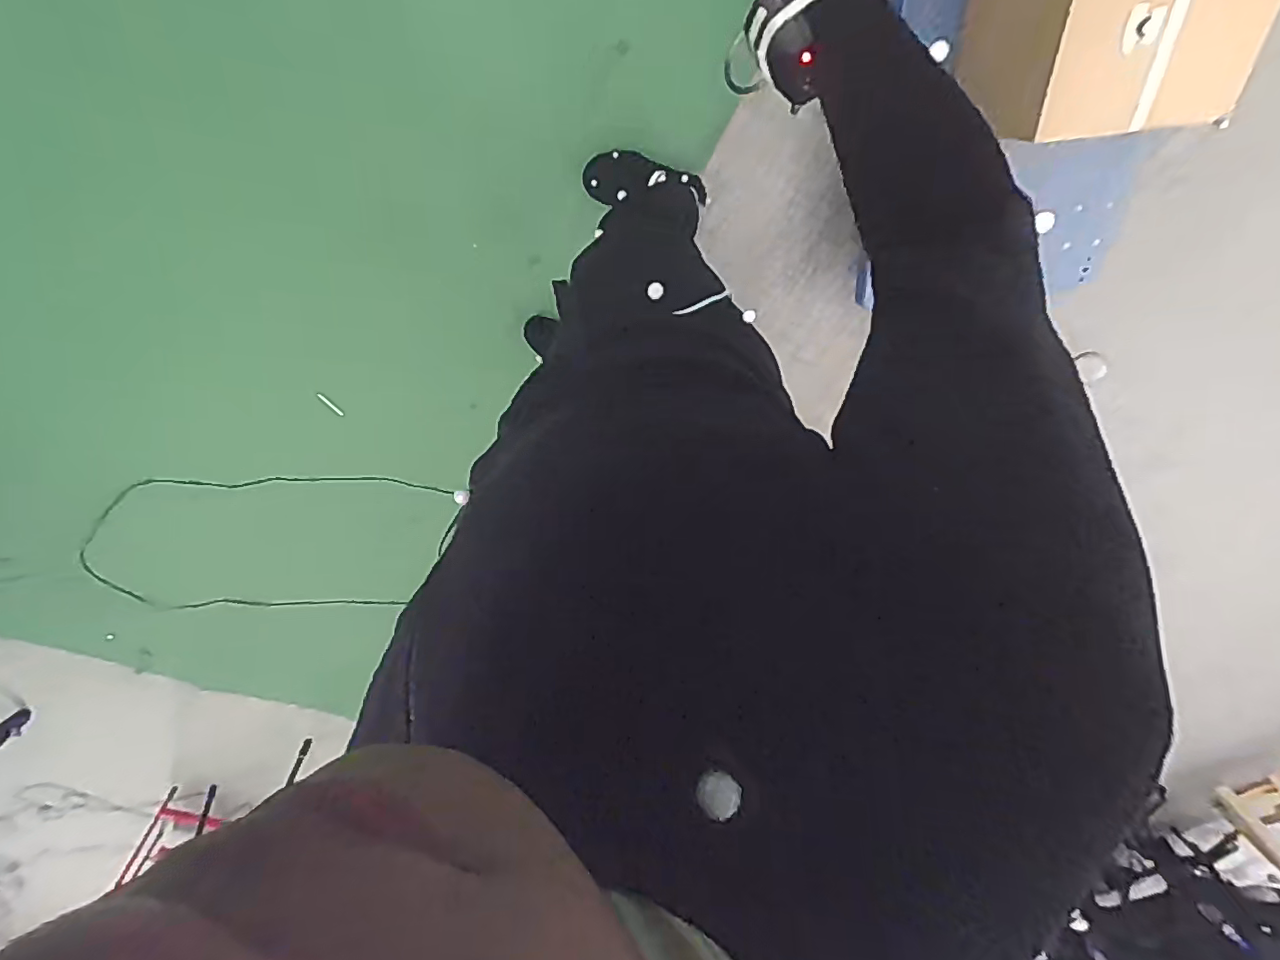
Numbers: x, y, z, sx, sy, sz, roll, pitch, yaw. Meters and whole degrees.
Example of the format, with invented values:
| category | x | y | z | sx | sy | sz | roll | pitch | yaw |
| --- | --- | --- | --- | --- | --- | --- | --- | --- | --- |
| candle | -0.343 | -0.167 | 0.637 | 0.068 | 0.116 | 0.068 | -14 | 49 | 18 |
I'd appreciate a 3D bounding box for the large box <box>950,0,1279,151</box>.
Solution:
| category | x | y | z | sx | sy | sz | roll | pitch | yaw |
| --- | --- | --- | --- | --- | --- | --- | --- | --- | --- |
| large box | 0.766 | -0.799 | 0.872 | 0.320 | 0.320 | 0.408 | -6 | 127 | 3 |
